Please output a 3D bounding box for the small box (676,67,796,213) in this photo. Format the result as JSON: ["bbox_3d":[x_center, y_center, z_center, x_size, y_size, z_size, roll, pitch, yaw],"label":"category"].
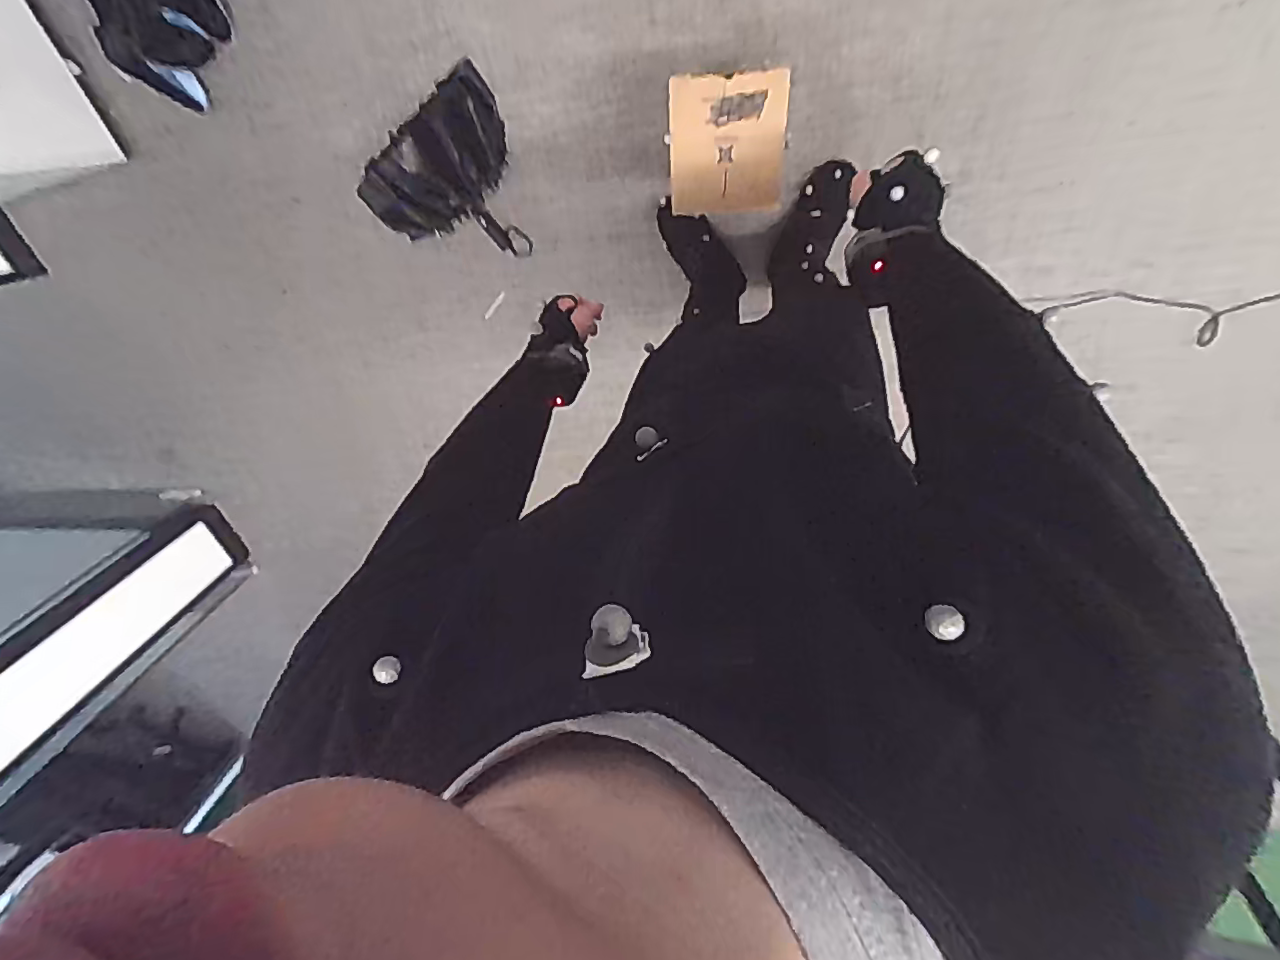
[{"bbox_3d":[0.147,-0.529,0.847,0.168,0.176,0.179,4,126,11],"label":"small box"}]
